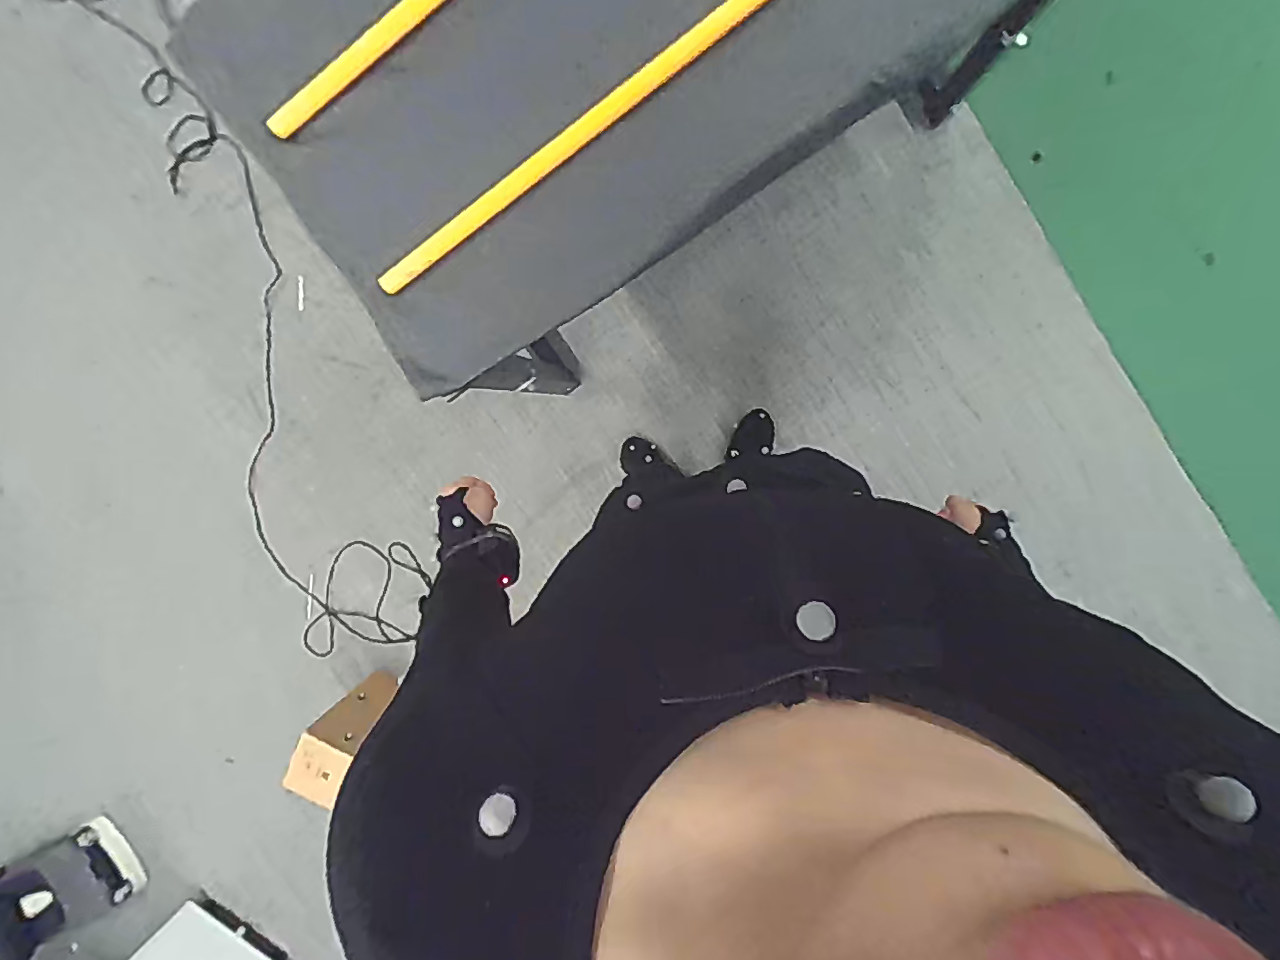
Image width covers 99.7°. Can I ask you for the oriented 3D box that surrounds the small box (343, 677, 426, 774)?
[{"bbox_3d":[-0.751,0.703,1.568,0.179,0.176,0.168,21,99,2],"label":"small box"}]

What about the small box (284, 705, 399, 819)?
[{"bbox_3d":[-0.766,0.721,1.404,0.179,0.176,0.168,26,98,1],"label":"small box"}]
